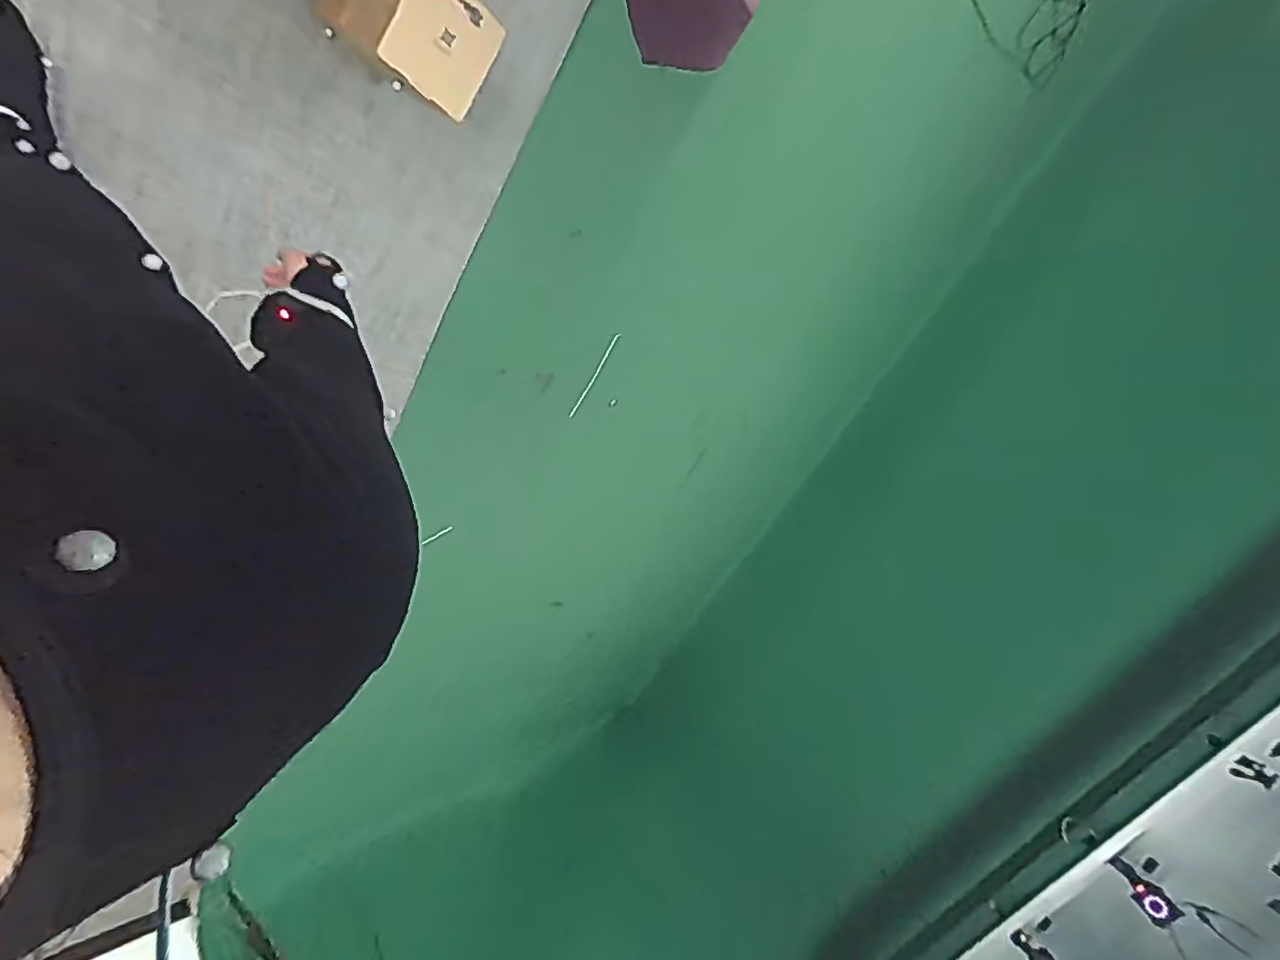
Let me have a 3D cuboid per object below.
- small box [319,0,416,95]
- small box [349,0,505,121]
[{"bbox_3d":[-0.474,-0.883,1.021,0.179,0.176,0.168,-53,148,10],"label":"small box"},{"bbox_3d":[-0.375,-0.780,0.940,0.179,0.176,0.168,-54,148,14],"label":"small box"}]
